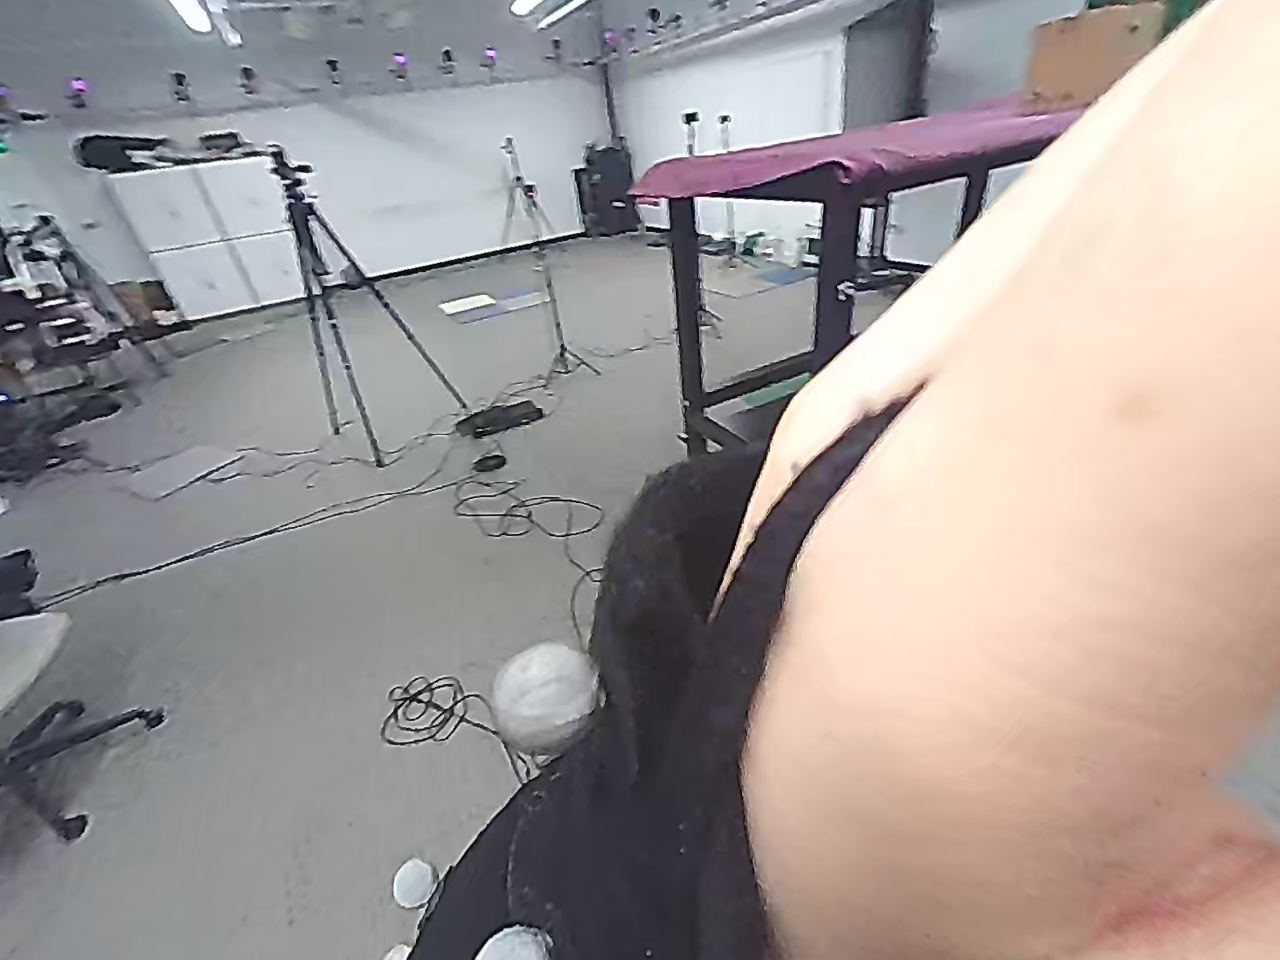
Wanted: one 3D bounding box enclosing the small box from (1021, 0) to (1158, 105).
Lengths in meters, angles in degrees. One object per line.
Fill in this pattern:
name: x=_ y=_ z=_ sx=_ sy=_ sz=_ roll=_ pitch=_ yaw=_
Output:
small box: x=0.983 y=-0.945 z=1.194 sx=0.179 sy=0.176 sz=0.168 roll=-21 pitch=33 yaw=-18
